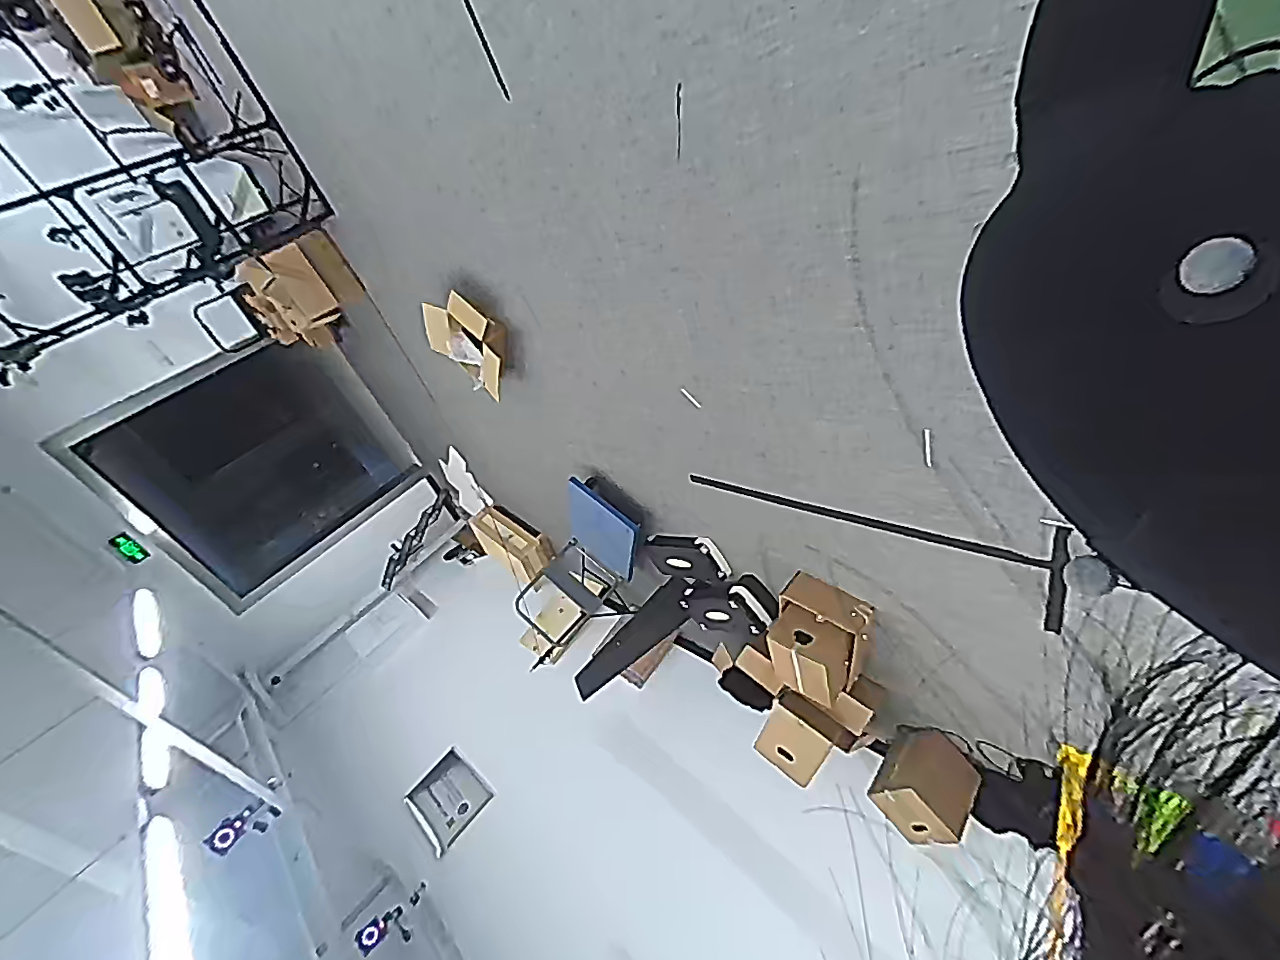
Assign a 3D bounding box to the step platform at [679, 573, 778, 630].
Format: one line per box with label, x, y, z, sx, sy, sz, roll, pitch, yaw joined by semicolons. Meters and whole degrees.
step platform;0.518;0.754;3.314;0.286;0.204;0.684;50;152;-7
